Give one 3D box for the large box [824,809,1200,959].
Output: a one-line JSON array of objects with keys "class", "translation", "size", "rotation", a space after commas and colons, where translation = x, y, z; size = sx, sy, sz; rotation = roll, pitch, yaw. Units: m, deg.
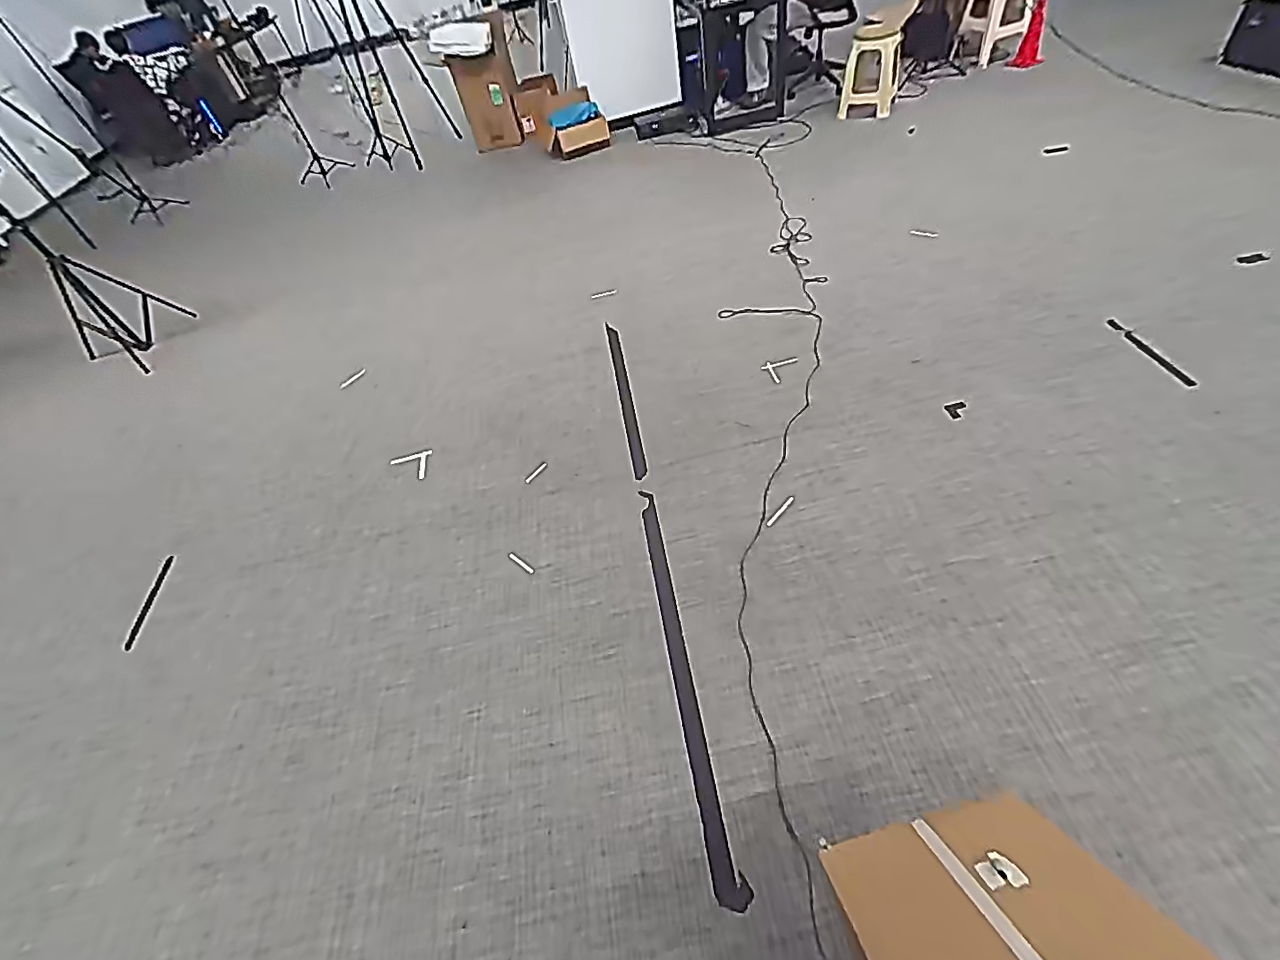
[{"class": "large box", "translation": [0.467, 0.678, 0.623], "size": [0.320, 0.408, 0.320], "rotation": [-15, 87, 0]}]
